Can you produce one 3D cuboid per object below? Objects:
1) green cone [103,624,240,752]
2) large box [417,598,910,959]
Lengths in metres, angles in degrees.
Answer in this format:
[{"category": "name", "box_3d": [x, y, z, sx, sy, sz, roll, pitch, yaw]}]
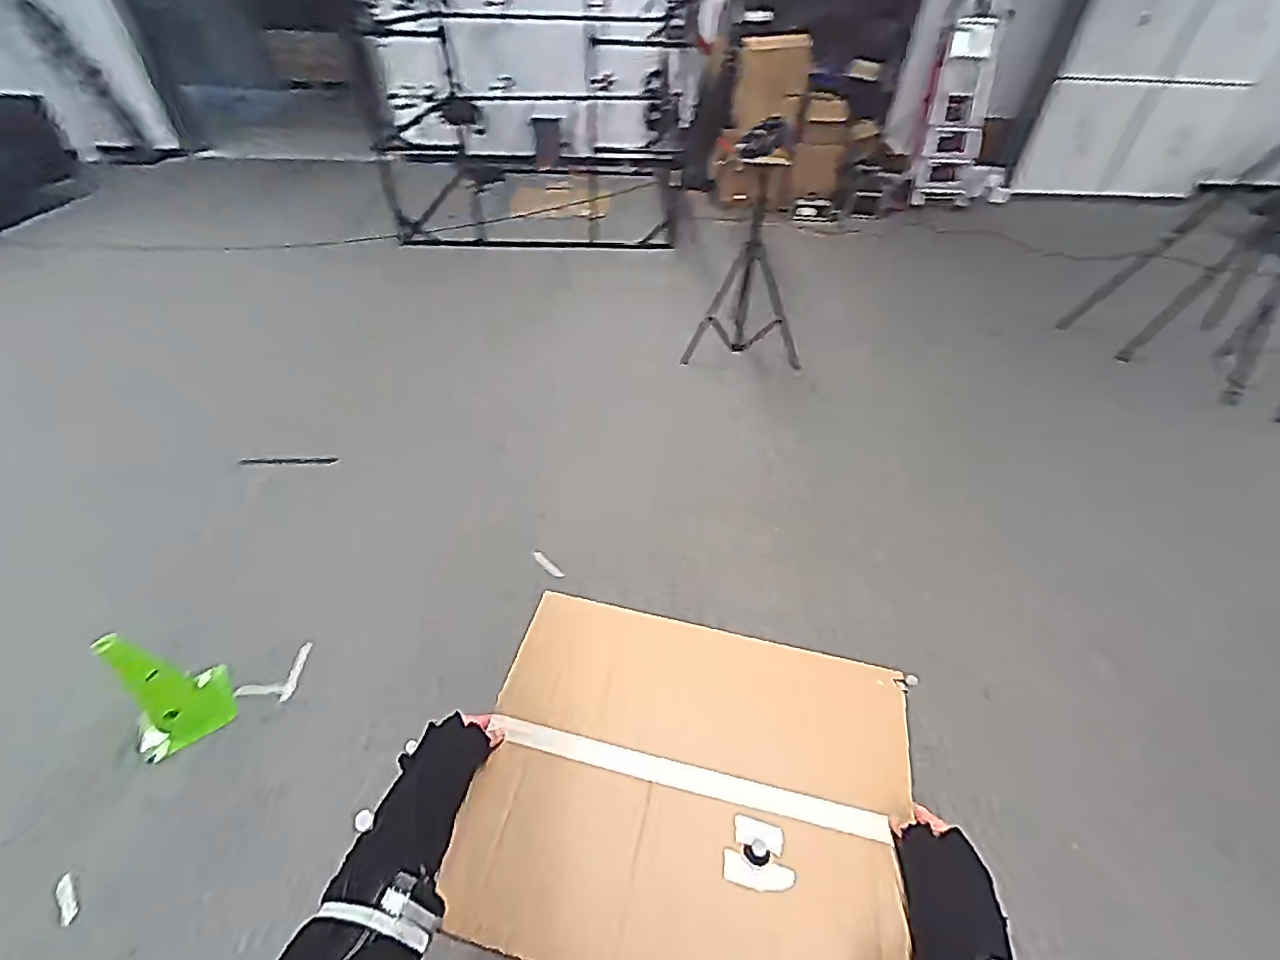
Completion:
[{"category": "green cone", "box_3d": [-1.220, 0.487, 1.371, 0.200, 0.368, 0.202, -27, 48, -29]}, {"category": "large box", "box_3d": [0.035, 0.381, 0.621, 0.408, 0.320, 0.320, 11, 48, 8]}]
